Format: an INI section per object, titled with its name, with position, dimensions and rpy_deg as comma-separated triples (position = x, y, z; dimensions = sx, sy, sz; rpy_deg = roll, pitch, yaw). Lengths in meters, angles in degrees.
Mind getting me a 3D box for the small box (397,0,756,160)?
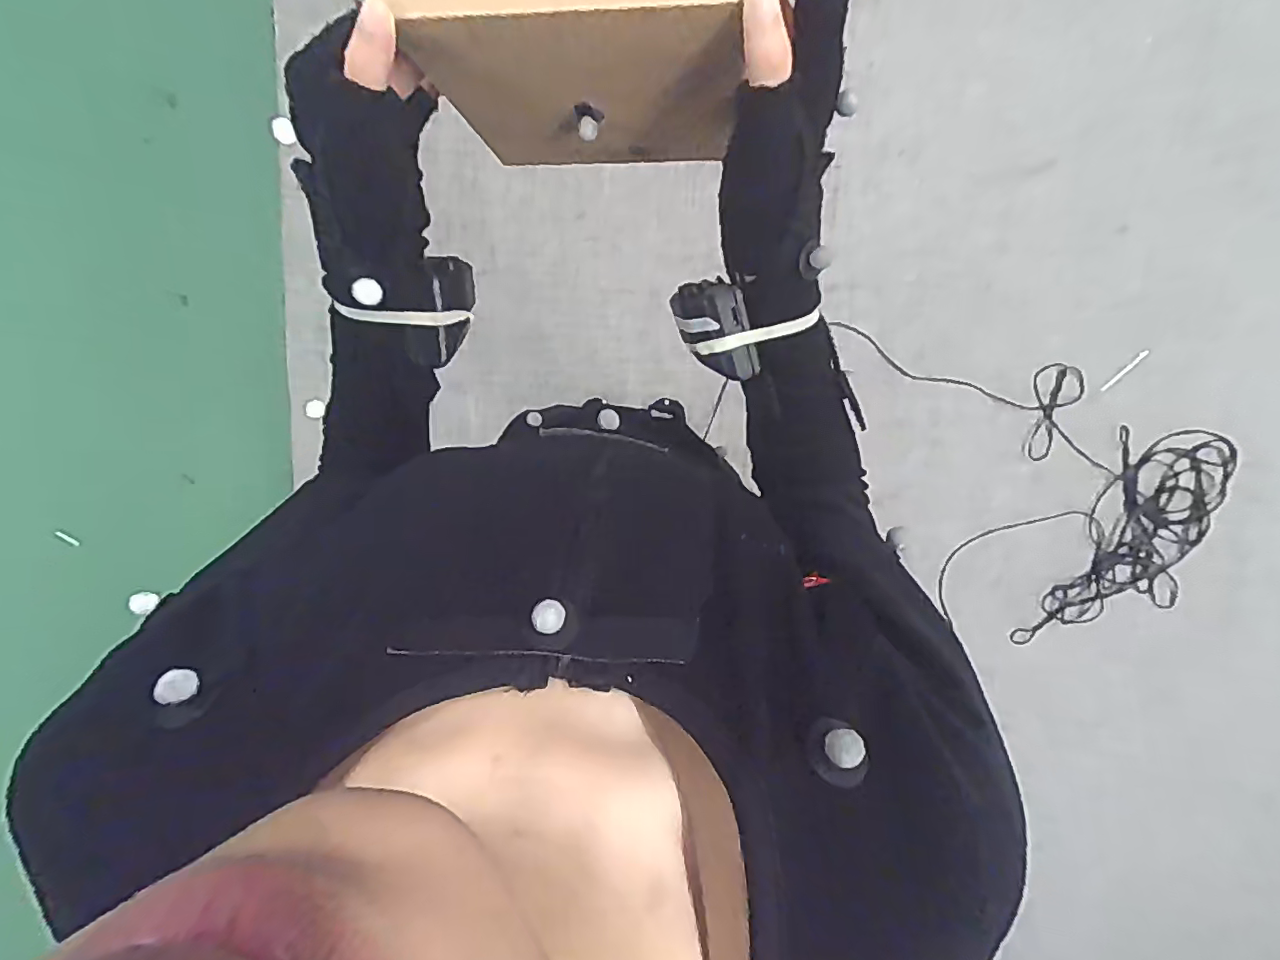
[small box]
position = -0.023, -0.300, 0.303
dimensions = 0.168, 0.176, 0.179
rpy_deg = 0, 100, 4
